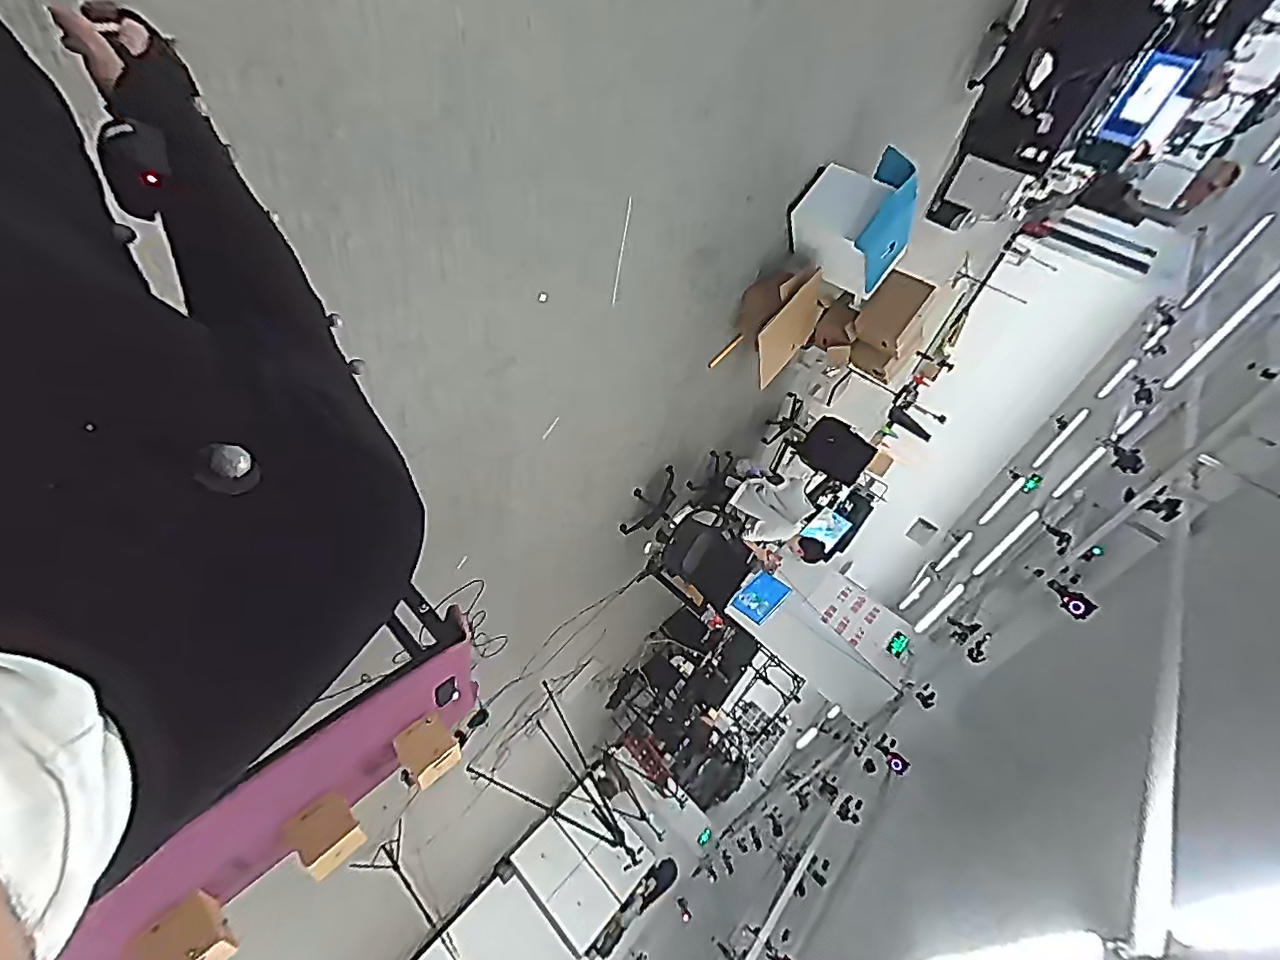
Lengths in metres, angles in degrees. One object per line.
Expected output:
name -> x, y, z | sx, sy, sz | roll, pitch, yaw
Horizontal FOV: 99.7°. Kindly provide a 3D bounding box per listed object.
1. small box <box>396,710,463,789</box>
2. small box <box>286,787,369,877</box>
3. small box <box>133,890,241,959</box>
small box -> -0.772, 0.979, 1.978 | 0.168, 0.176, 0.179 | -32, 151, -37
small box -> -1.023, 1.151, 1.775 | 0.168, 0.176, 0.179 | -33, 150, -38
small box -> -1.282, 1.314, 1.536 | 0.168, 0.176, 0.179 | -32, 151, -39
